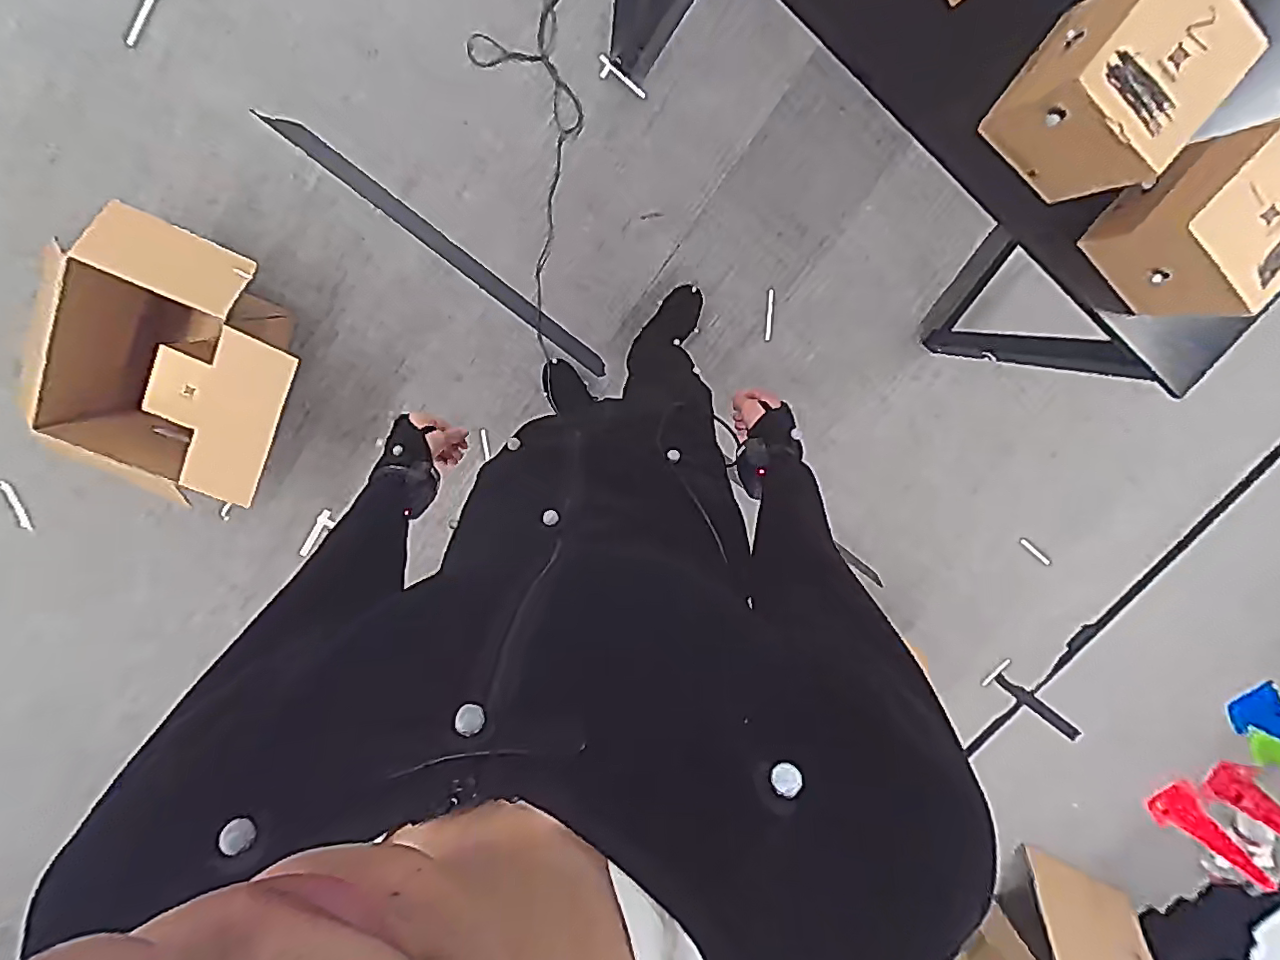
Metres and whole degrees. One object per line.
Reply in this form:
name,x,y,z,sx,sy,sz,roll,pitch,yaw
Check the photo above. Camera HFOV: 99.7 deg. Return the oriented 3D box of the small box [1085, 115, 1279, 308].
small box,0.793,-0.362,0.752,0.179,0.176,0.168,37,101,-14
